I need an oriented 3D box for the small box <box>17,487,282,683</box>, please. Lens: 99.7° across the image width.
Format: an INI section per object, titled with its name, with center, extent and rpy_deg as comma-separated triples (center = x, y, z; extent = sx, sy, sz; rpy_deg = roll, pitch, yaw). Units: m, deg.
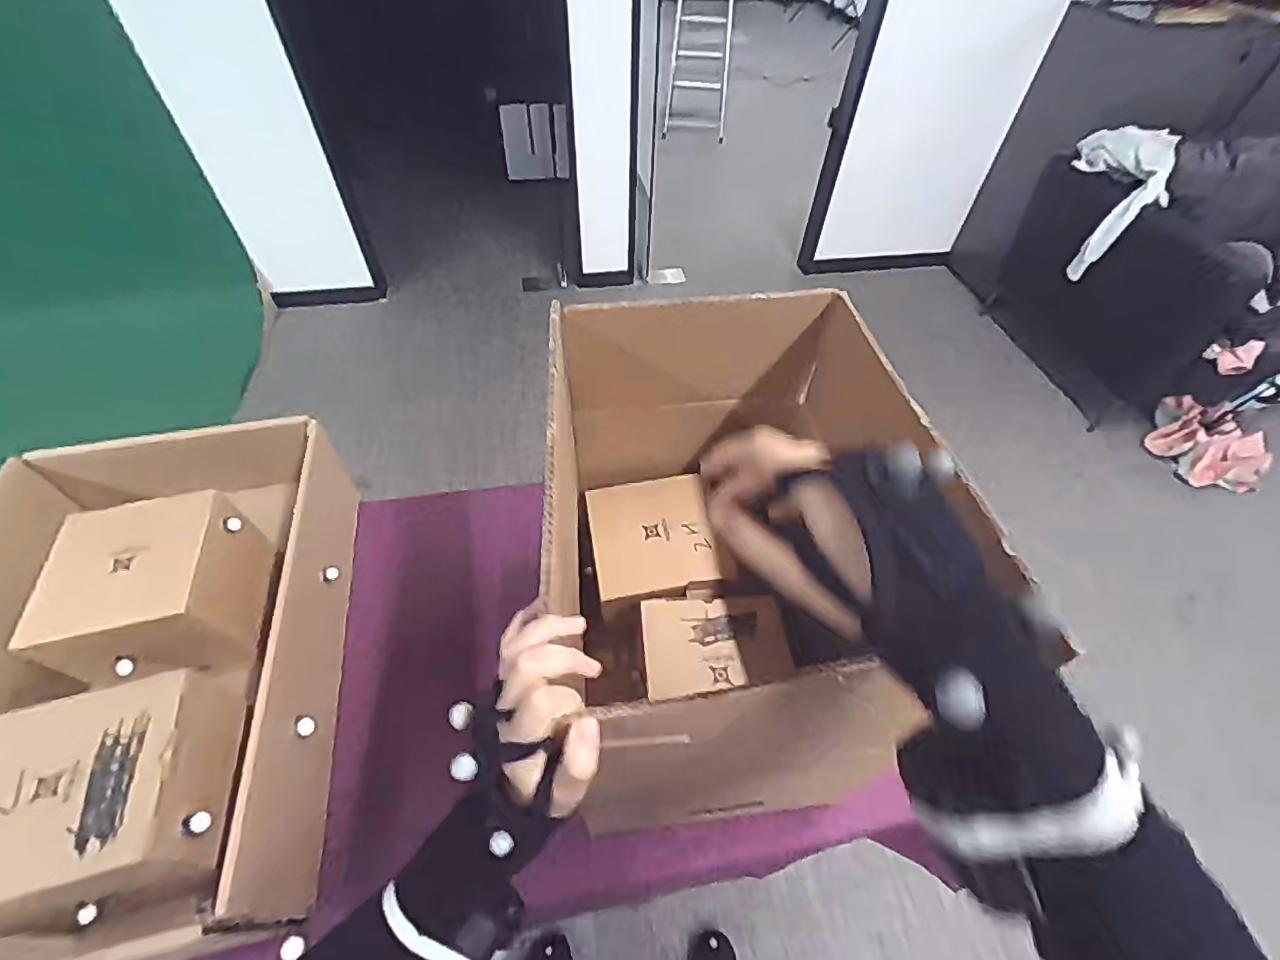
[small box]
center = -0.587, 0.139, 0.682
extent = 0.168, 0.176, 0.179
rpy_deg = -12, 52, -10
